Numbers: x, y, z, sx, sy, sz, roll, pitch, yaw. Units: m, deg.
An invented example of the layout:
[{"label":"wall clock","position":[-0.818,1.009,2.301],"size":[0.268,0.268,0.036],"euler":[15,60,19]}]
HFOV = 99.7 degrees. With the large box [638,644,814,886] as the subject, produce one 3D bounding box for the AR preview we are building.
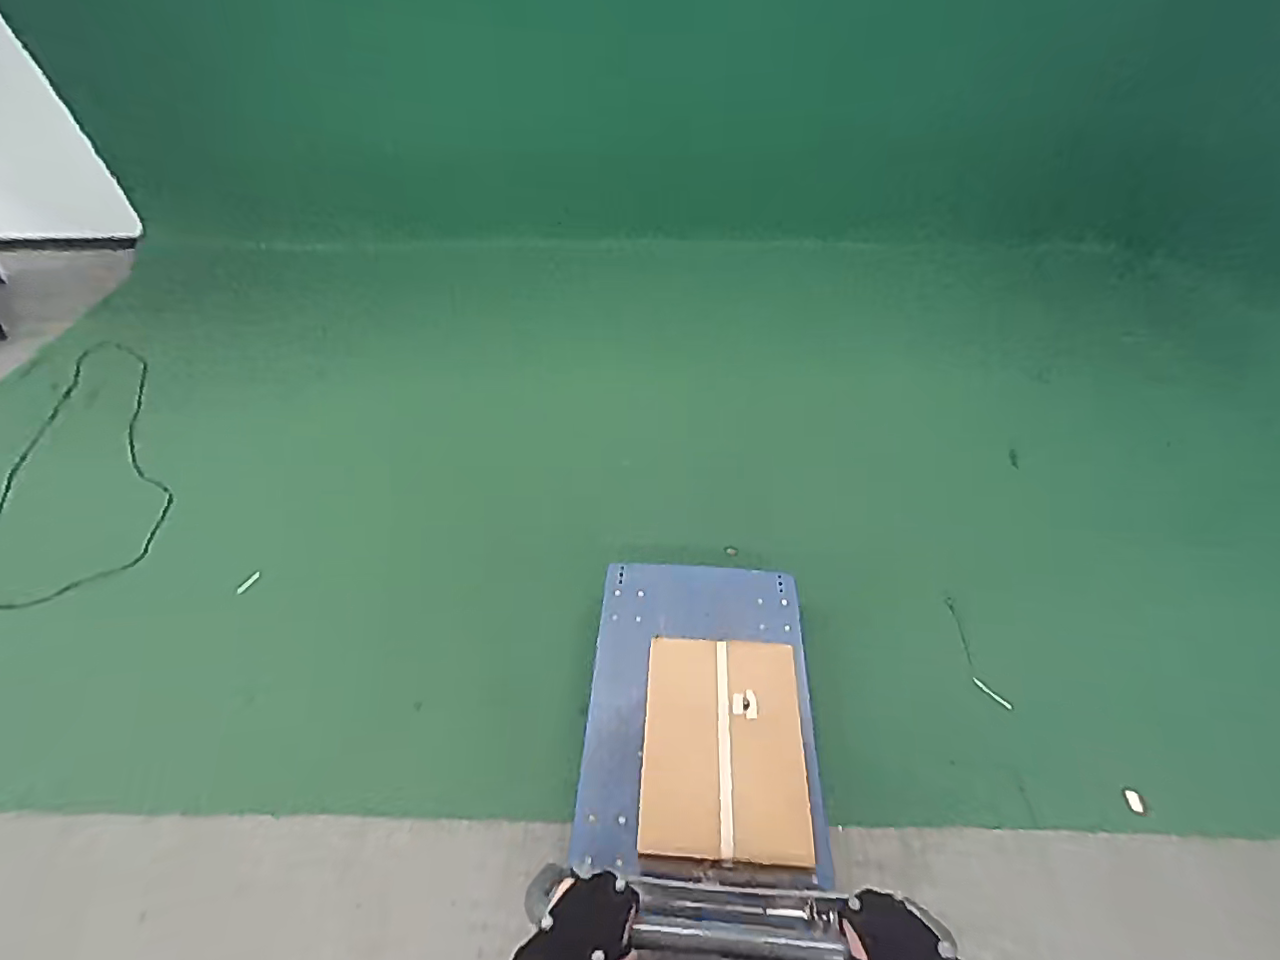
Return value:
[{"label":"large box","position":[0.165,0.618,1.181],"size":[0.320,0.320,0.408],"euler":[2,48,3]}]
